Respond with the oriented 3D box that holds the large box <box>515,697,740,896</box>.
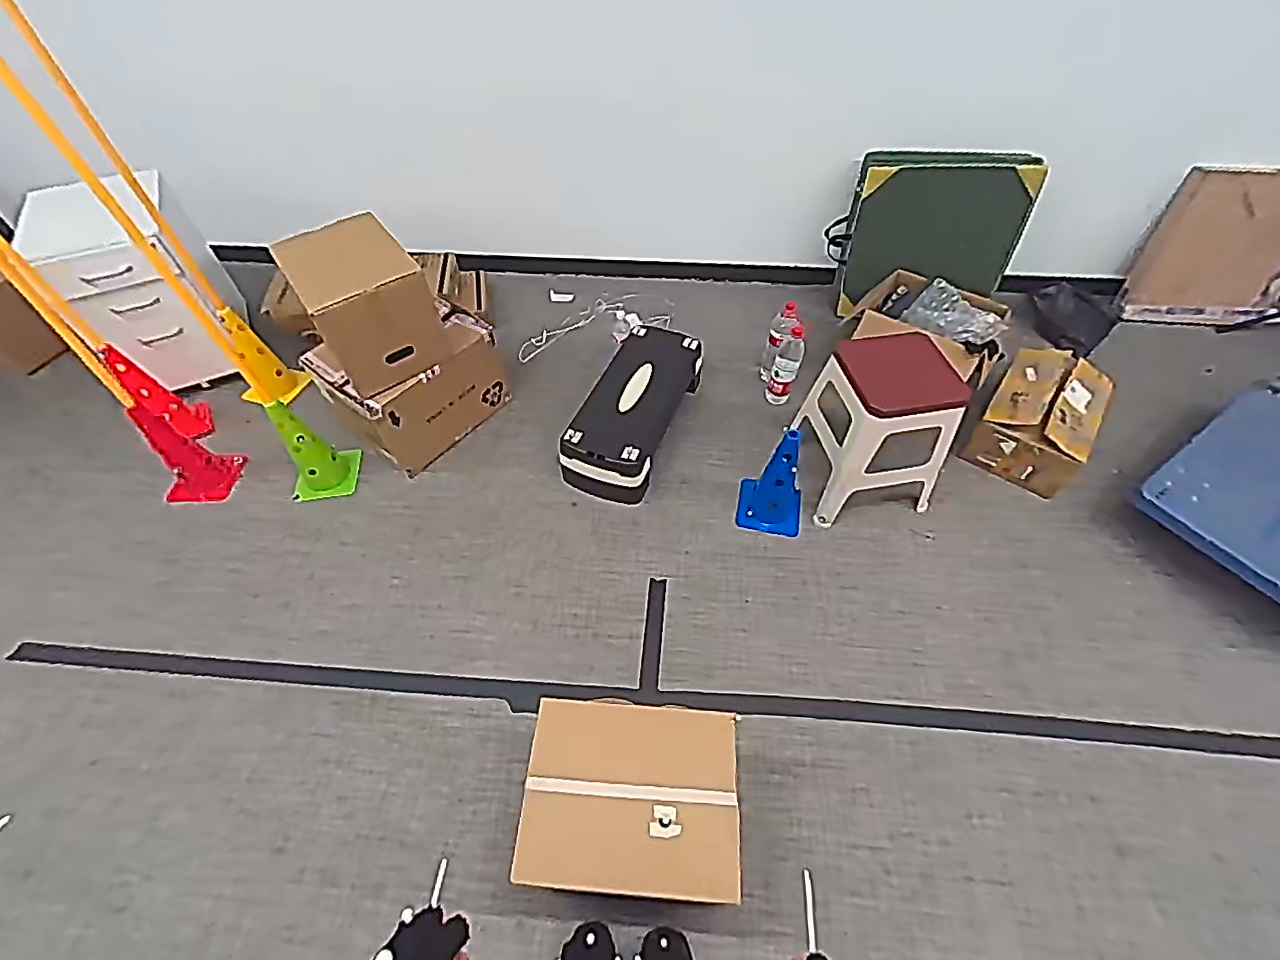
[{"bbox_3d":[-0.019,0.676,1.147,0.408,0.320,0.320,4,54,2],"label":"large box"}]
